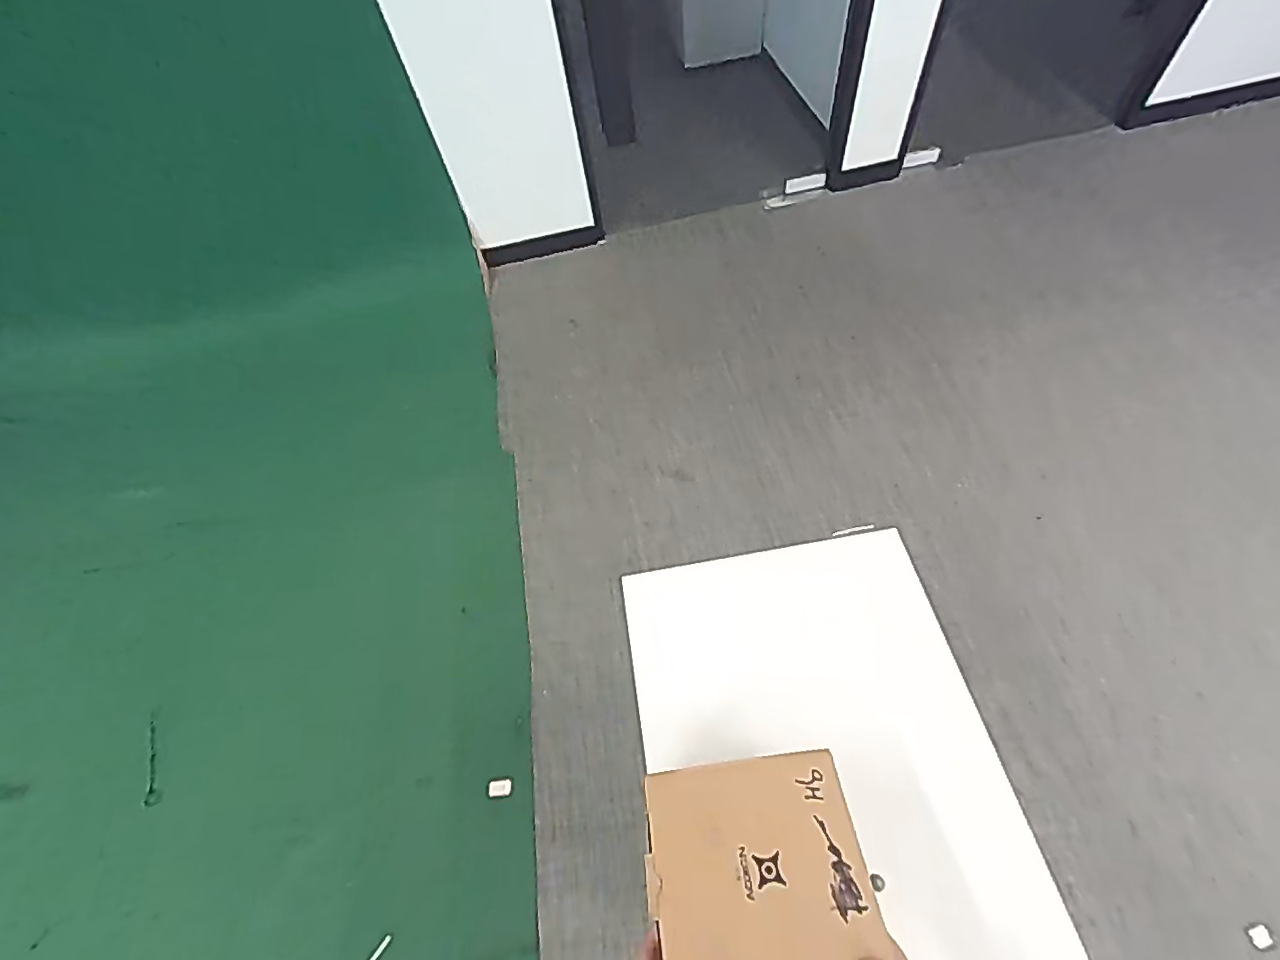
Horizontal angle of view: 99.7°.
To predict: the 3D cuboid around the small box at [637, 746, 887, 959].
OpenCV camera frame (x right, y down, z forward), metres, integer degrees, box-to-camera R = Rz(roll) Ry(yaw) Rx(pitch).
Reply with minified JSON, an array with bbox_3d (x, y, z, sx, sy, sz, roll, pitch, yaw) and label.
[{"bbox_3d":[0.101,0.366,0.503,0.179,0.176,0.168,-9,51,2],"label":"small box"}]
